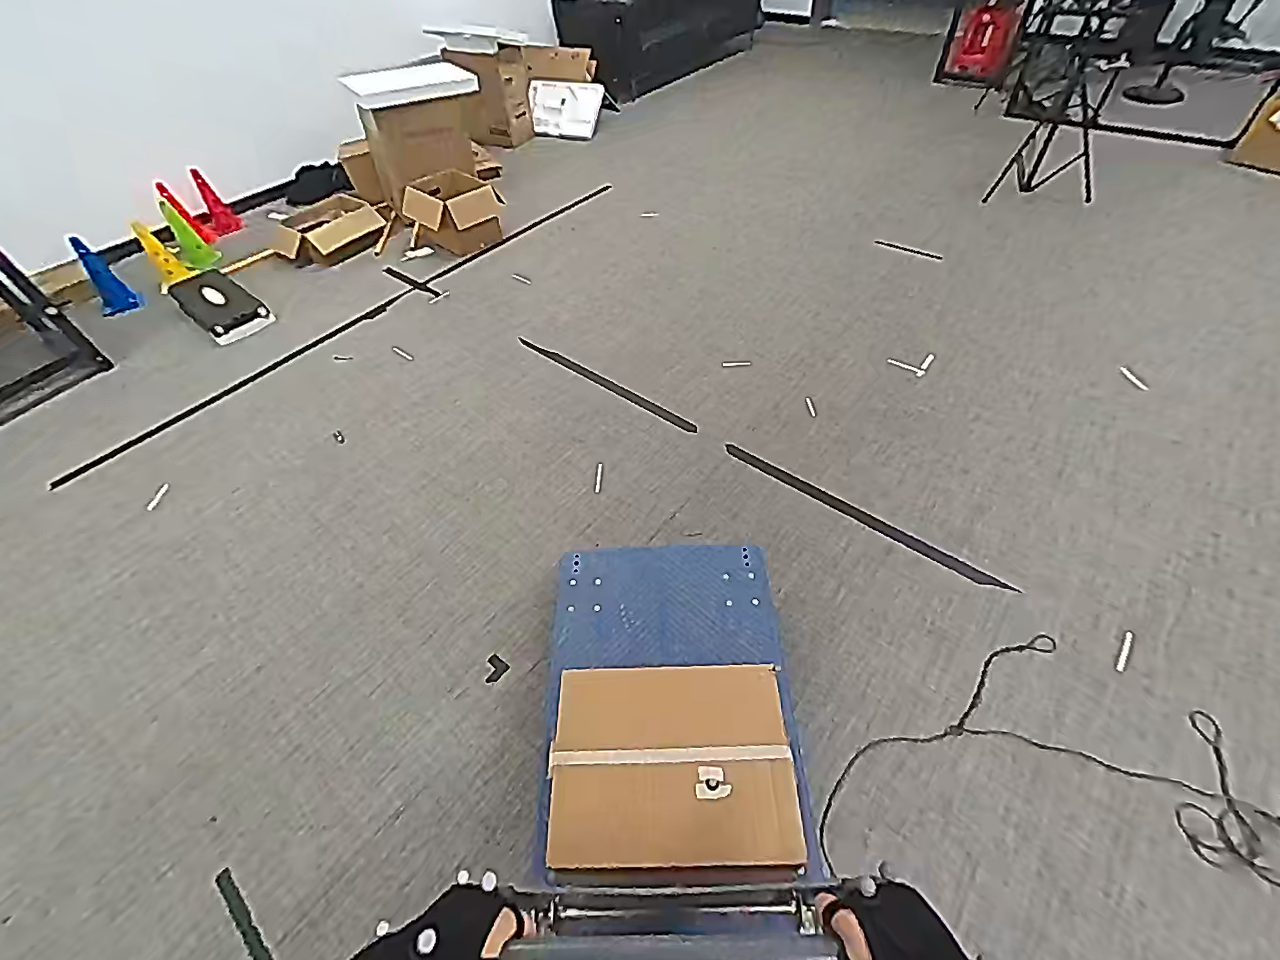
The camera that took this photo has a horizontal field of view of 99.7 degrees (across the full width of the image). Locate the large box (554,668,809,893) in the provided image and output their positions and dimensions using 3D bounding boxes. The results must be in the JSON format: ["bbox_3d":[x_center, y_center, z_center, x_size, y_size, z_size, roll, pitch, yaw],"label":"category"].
[{"bbox_3d":[0.063,0.580,1.038,0.408,0.320,0.320,-2,49,1],"label":"large box"}]
